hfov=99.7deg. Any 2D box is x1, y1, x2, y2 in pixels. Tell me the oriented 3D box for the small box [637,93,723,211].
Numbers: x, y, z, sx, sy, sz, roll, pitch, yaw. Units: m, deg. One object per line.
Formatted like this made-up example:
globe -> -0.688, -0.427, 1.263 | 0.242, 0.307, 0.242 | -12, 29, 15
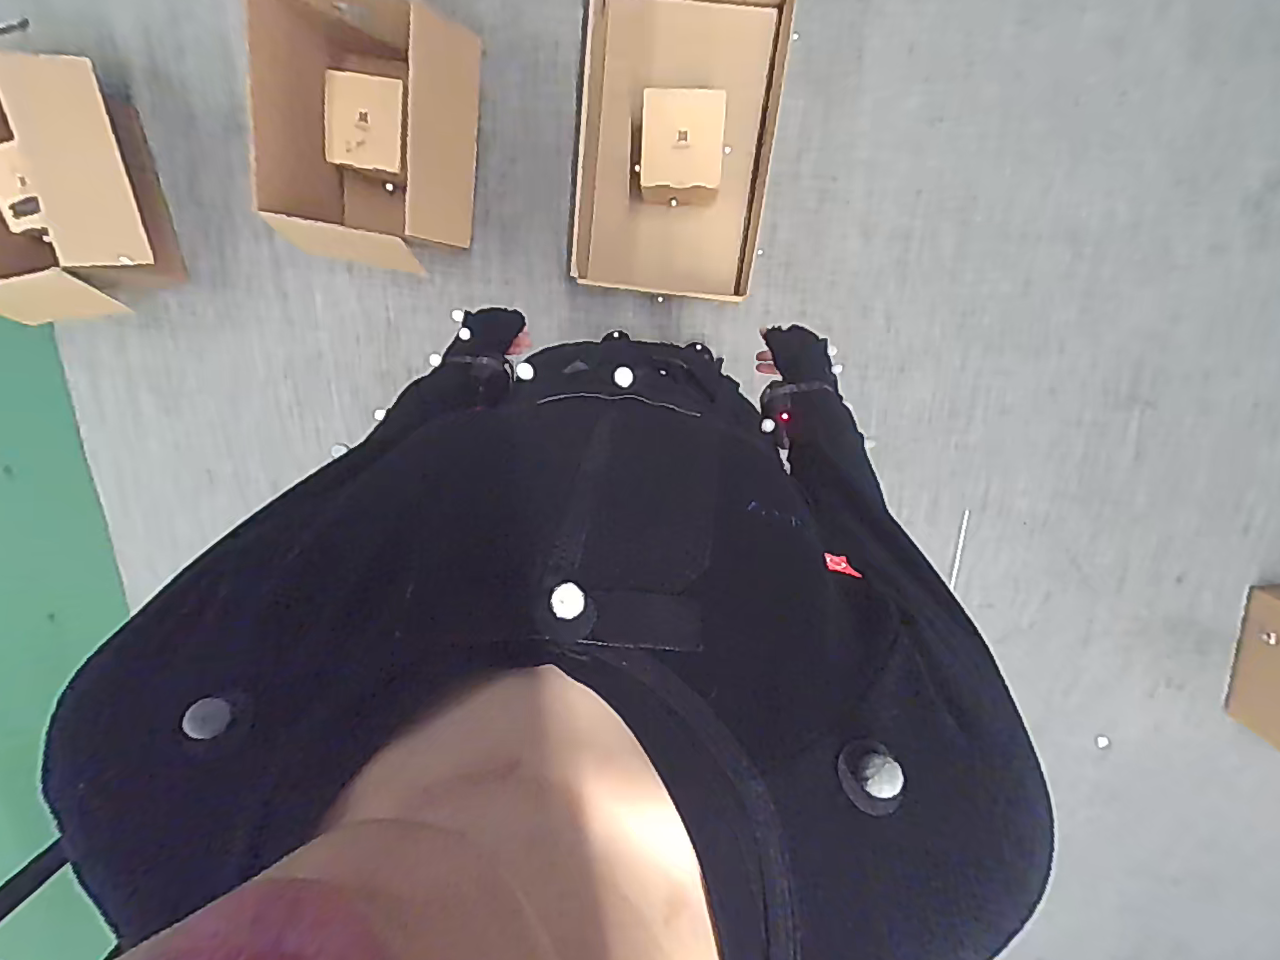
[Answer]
small box -> 0.082, -0.693, 1.157 | 0.168, 0.176, 0.179 | 3, 106, 3
